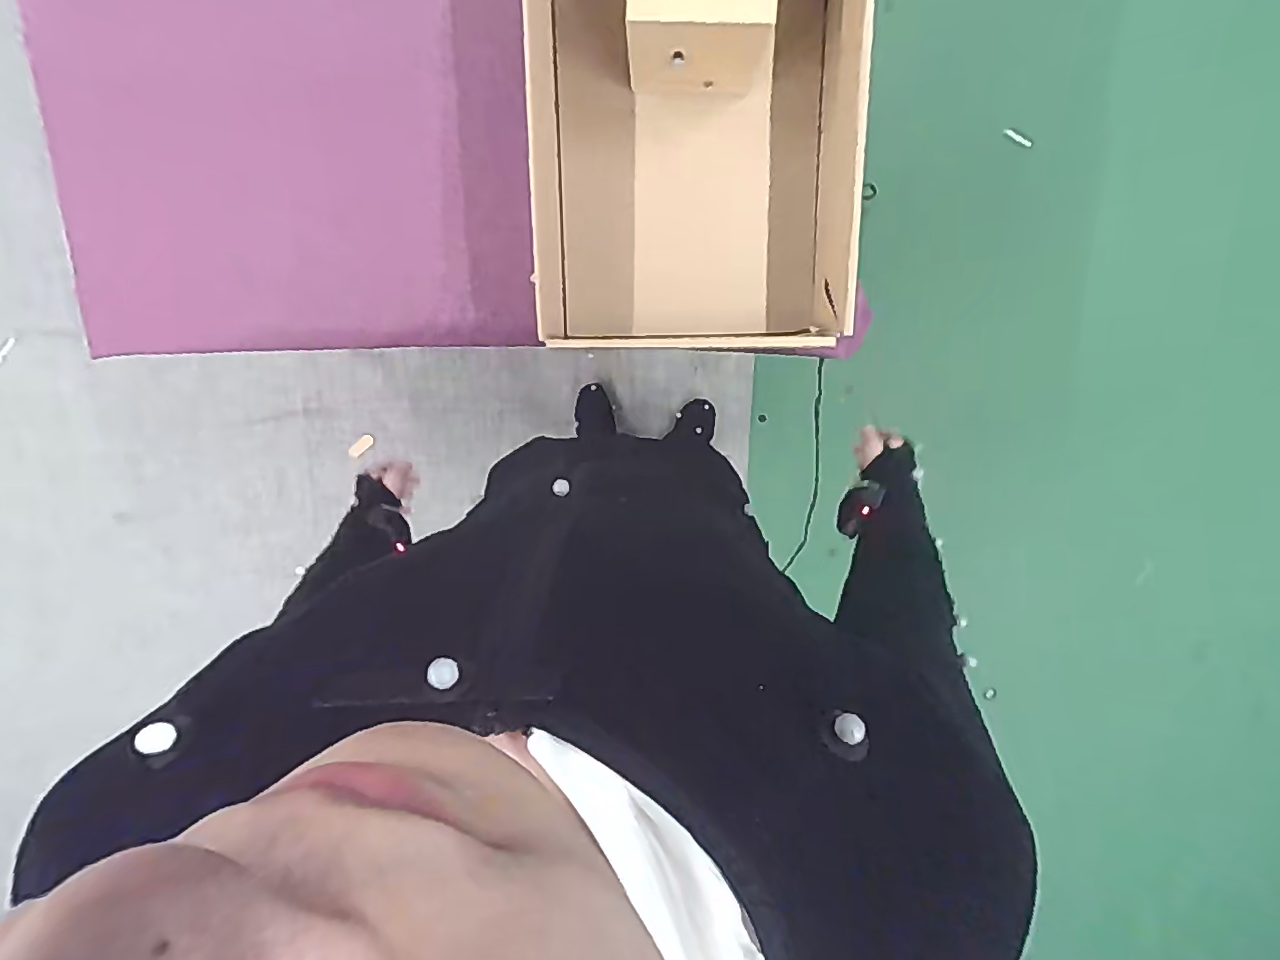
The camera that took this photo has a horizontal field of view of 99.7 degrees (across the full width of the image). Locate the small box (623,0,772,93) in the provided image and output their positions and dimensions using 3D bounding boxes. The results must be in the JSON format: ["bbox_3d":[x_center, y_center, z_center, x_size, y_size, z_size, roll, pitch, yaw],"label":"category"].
[{"bbox_3d":[0.070,-0.600,0.652,0.168,0.176,0.179,2,102,2],"label":"small box"}]

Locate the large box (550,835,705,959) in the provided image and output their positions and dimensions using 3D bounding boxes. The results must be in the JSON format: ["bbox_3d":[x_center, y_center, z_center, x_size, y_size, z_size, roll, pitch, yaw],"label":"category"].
[{"bbox_3d":[-0.040,1.499,1.795,0.408,0.320,0.320,-33,100,5],"label":"large box"}]
